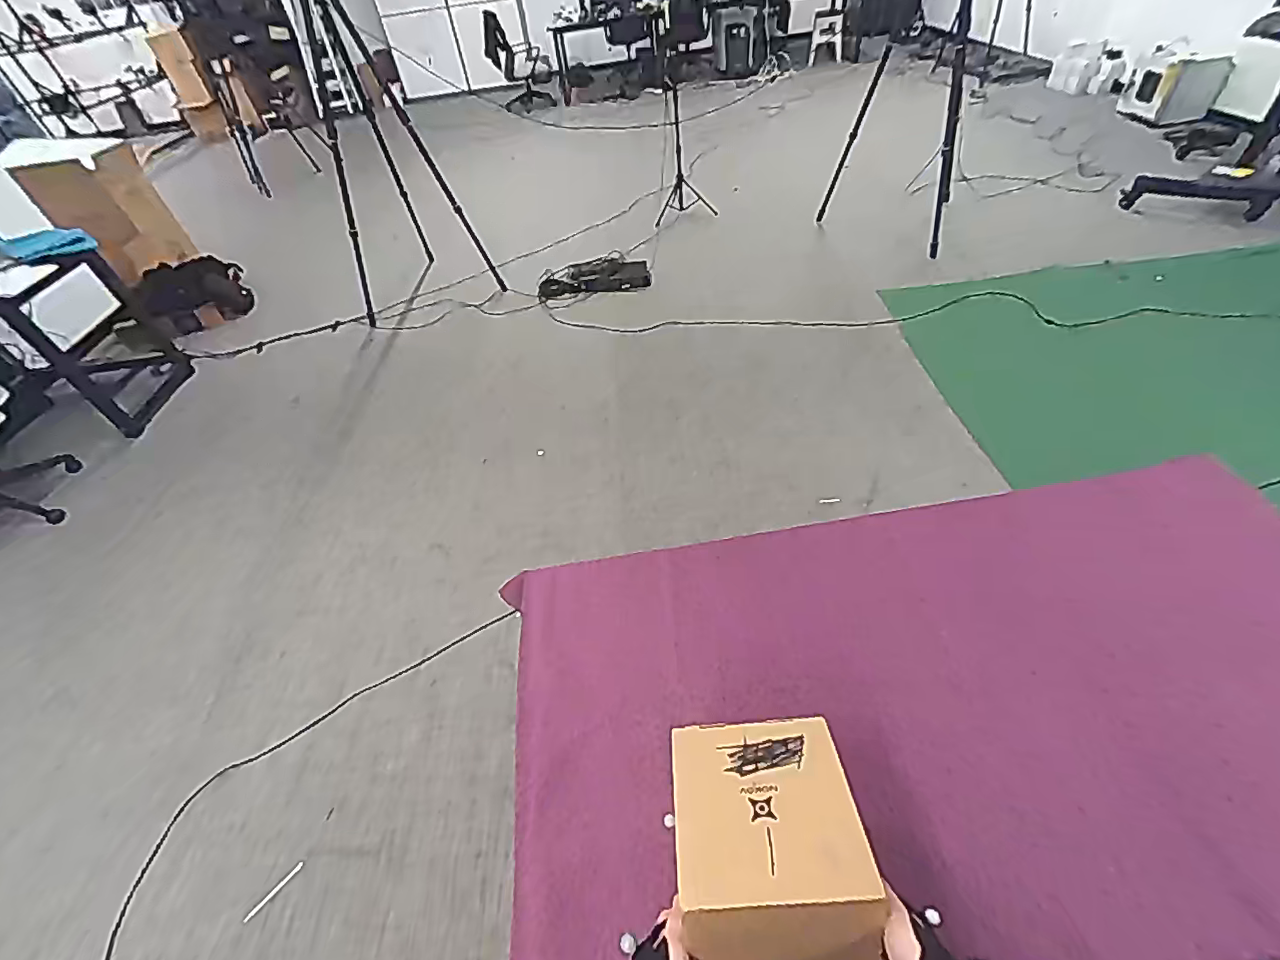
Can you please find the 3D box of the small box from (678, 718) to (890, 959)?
[{"bbox_3d":[0.127,0.370,0.539,0.168,0.176,0.179,-6,27,4],"label":"small box"}]
